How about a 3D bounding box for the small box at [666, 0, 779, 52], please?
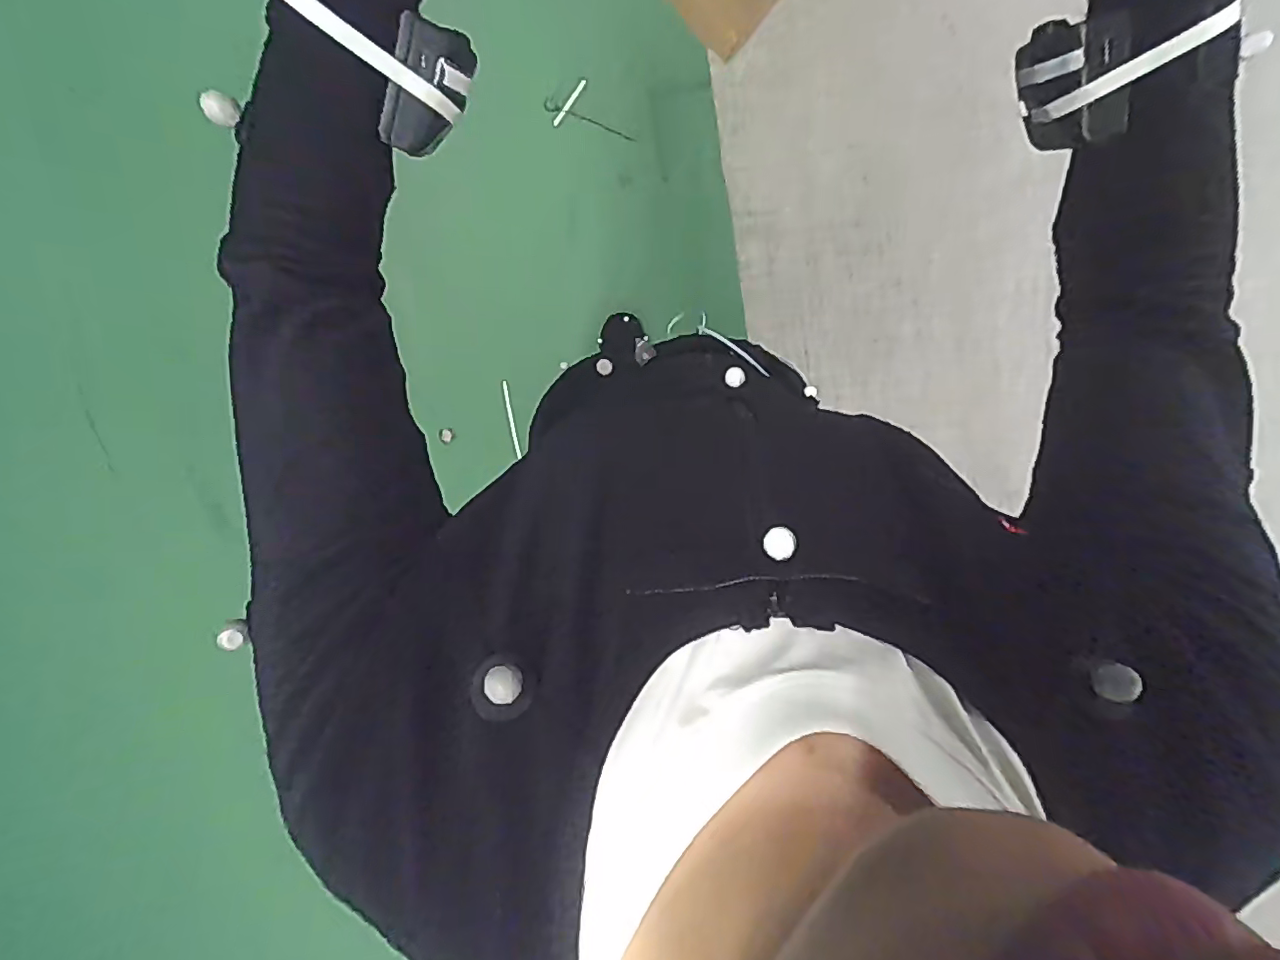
[{"bbox_3d":[0.061,-0.395,0.294,0.179,0.176,0.168,41,101,-18],"label":"small box"}]
